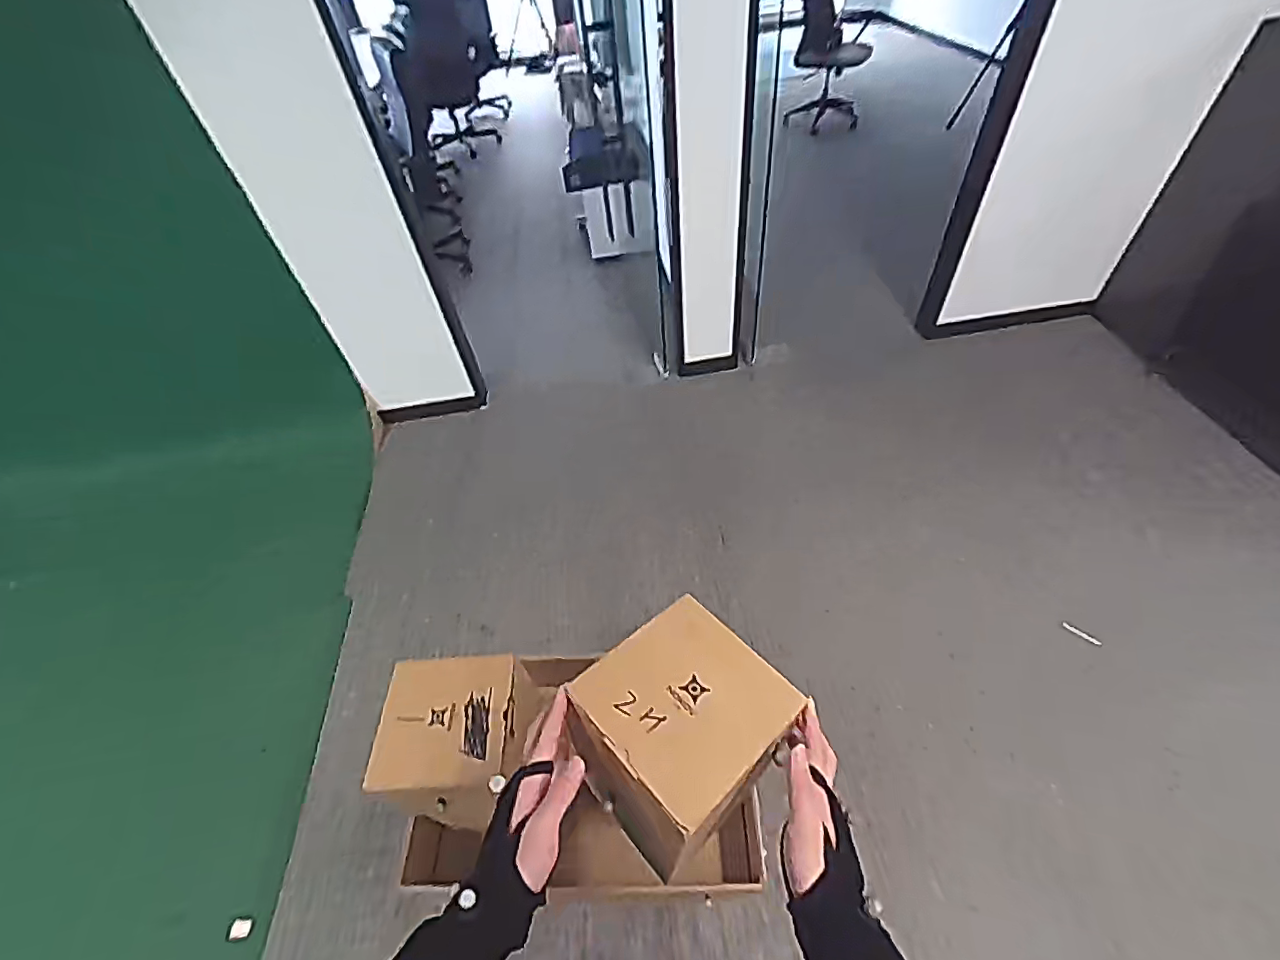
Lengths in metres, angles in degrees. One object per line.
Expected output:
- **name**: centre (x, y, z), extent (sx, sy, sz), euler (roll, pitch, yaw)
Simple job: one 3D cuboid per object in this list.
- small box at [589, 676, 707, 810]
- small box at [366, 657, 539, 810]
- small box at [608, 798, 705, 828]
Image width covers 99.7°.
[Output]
- **small box**: centre (0.022, 0.442, 0.903), extent (0.179, 0.176, 0.168), euler (0, 50, 6)
- **small box**: centre (-0.254, 0.372, 0.787), extent (0.179, 0.176, 0.168), euler (-5, 49, 4)
- **small box**: centre (0.041, 0.546, 1.028), extent (0.168, 0.176, 0.179), euler (0, 50, 7)
